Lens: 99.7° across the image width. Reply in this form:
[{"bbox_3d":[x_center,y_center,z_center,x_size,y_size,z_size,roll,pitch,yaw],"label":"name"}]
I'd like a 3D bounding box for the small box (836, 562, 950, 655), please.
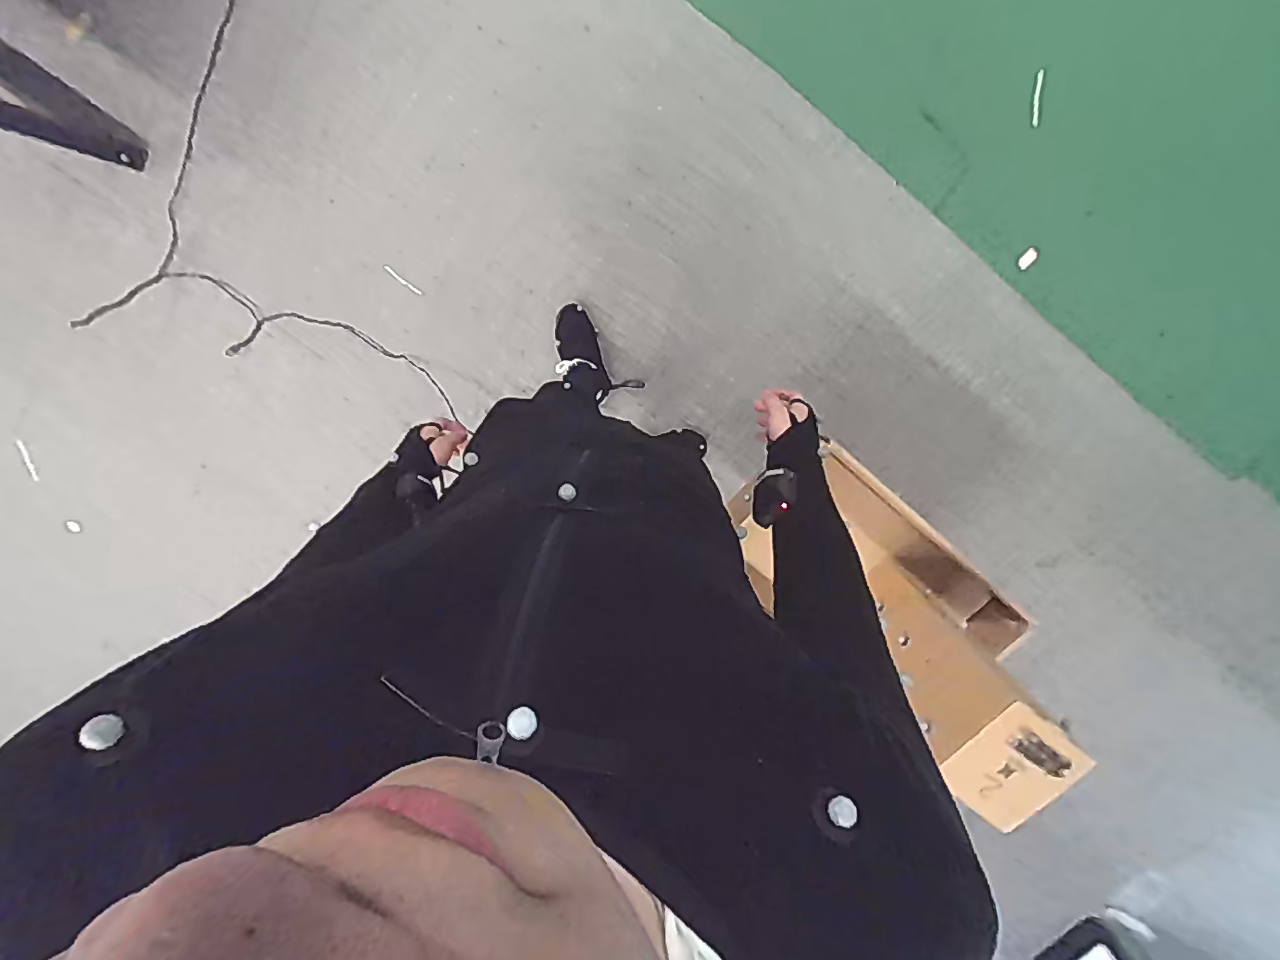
[{"bbox_3d":[0.557,0.315,1.191,0.168,0.176,0.179,40,103,-8],"label":"small box"}]

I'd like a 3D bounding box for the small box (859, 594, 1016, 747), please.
[{"bbox_3d":[0.548,0.355,1.032,0.168,0.176,0.179,38,102,-8],"label":"small box"}]
